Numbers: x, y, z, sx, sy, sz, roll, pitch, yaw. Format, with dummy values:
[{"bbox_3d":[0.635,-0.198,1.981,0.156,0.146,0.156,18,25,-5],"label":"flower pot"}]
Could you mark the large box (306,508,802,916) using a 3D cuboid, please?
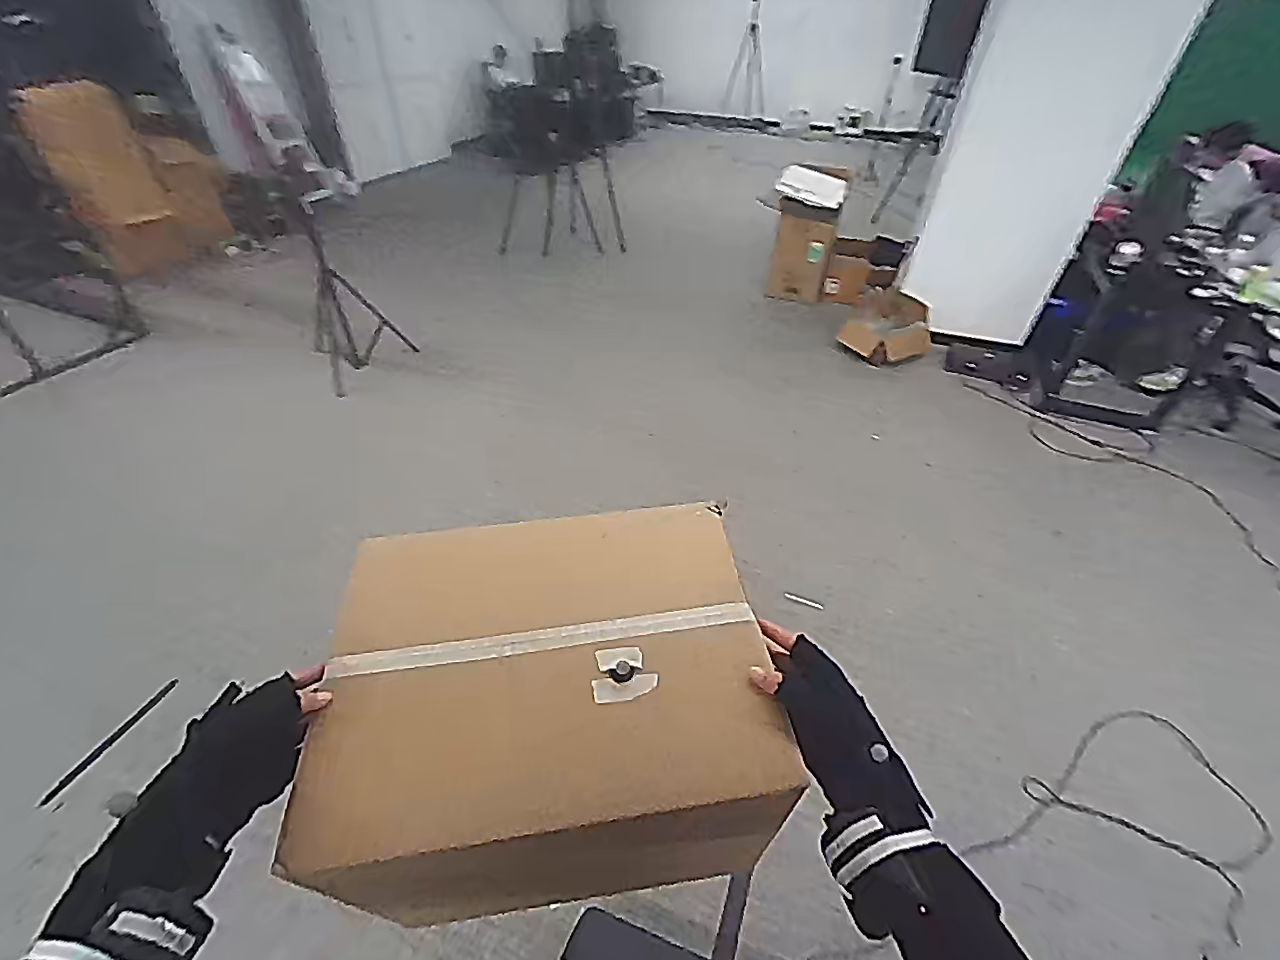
[{"bbox_3d":[-0.082,0.264,0.635,0.408,0.320,0.320,-5,45,-6],"label":"large box"}]
